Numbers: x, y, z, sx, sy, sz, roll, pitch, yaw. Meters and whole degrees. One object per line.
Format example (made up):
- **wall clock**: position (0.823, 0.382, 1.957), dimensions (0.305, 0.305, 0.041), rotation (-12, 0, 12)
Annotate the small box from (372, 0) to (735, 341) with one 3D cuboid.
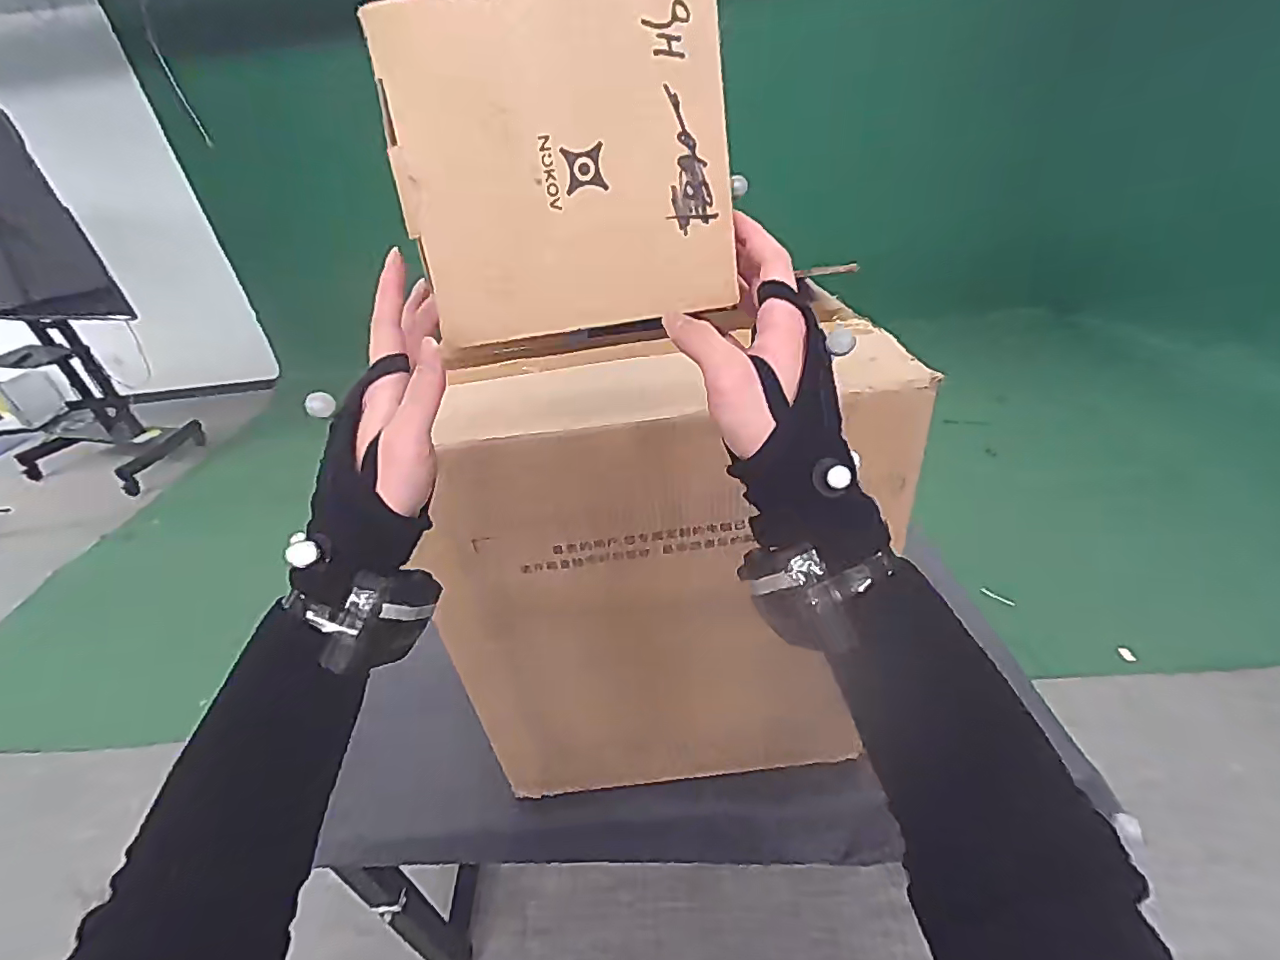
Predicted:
- **small box**: position (-0.044, -0.189, 0.368), dimensions (0.179, 0.168, 0.176), rotation (-8, 18, -2)
